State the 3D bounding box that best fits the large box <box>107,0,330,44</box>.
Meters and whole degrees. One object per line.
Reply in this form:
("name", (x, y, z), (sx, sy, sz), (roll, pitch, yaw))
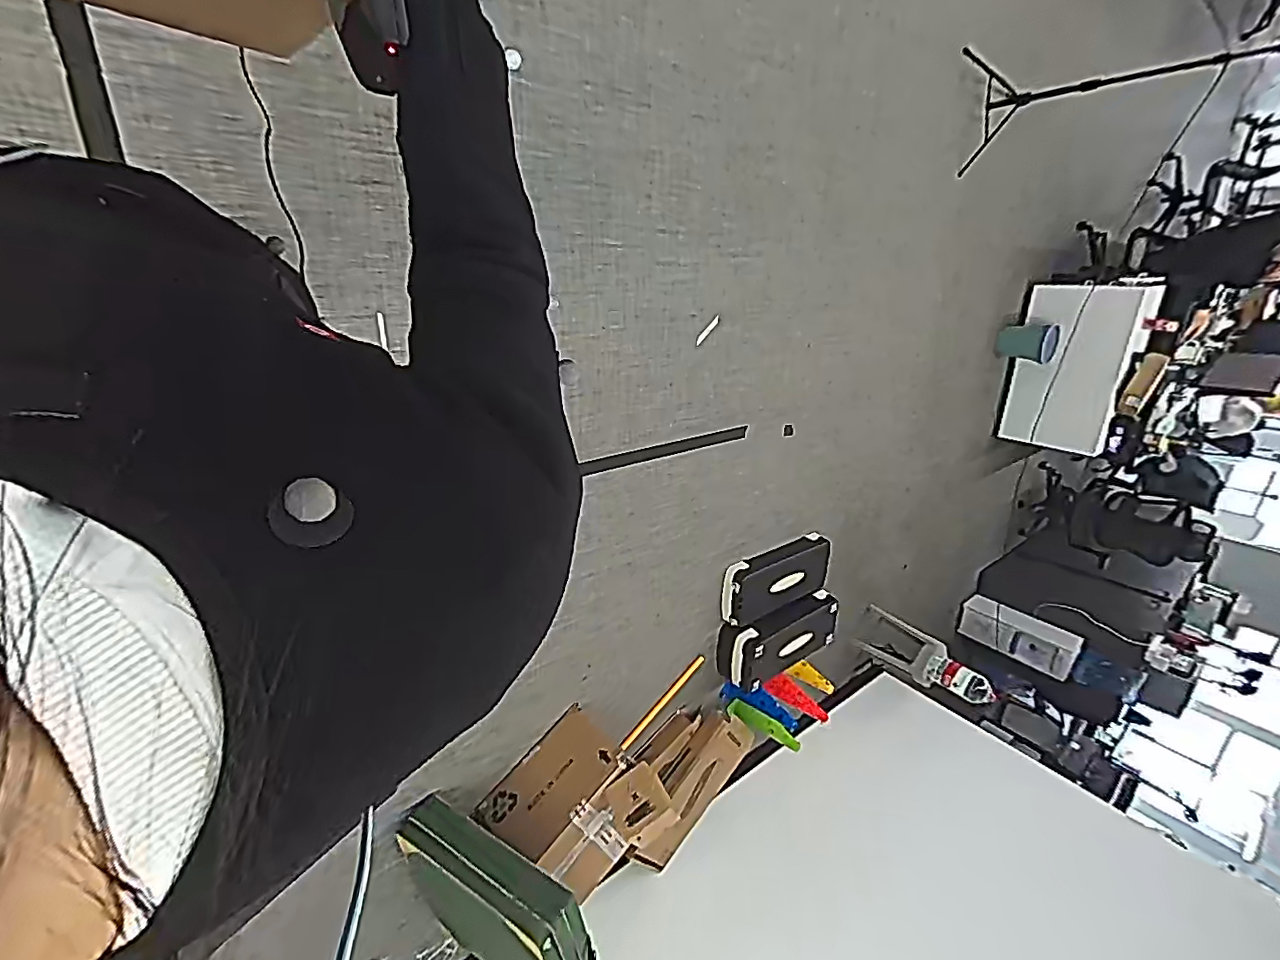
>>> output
("large box", (-0.413, -0.489, 0.276), (0.408, 0.320, 0.320), (-13, 123, -38))
